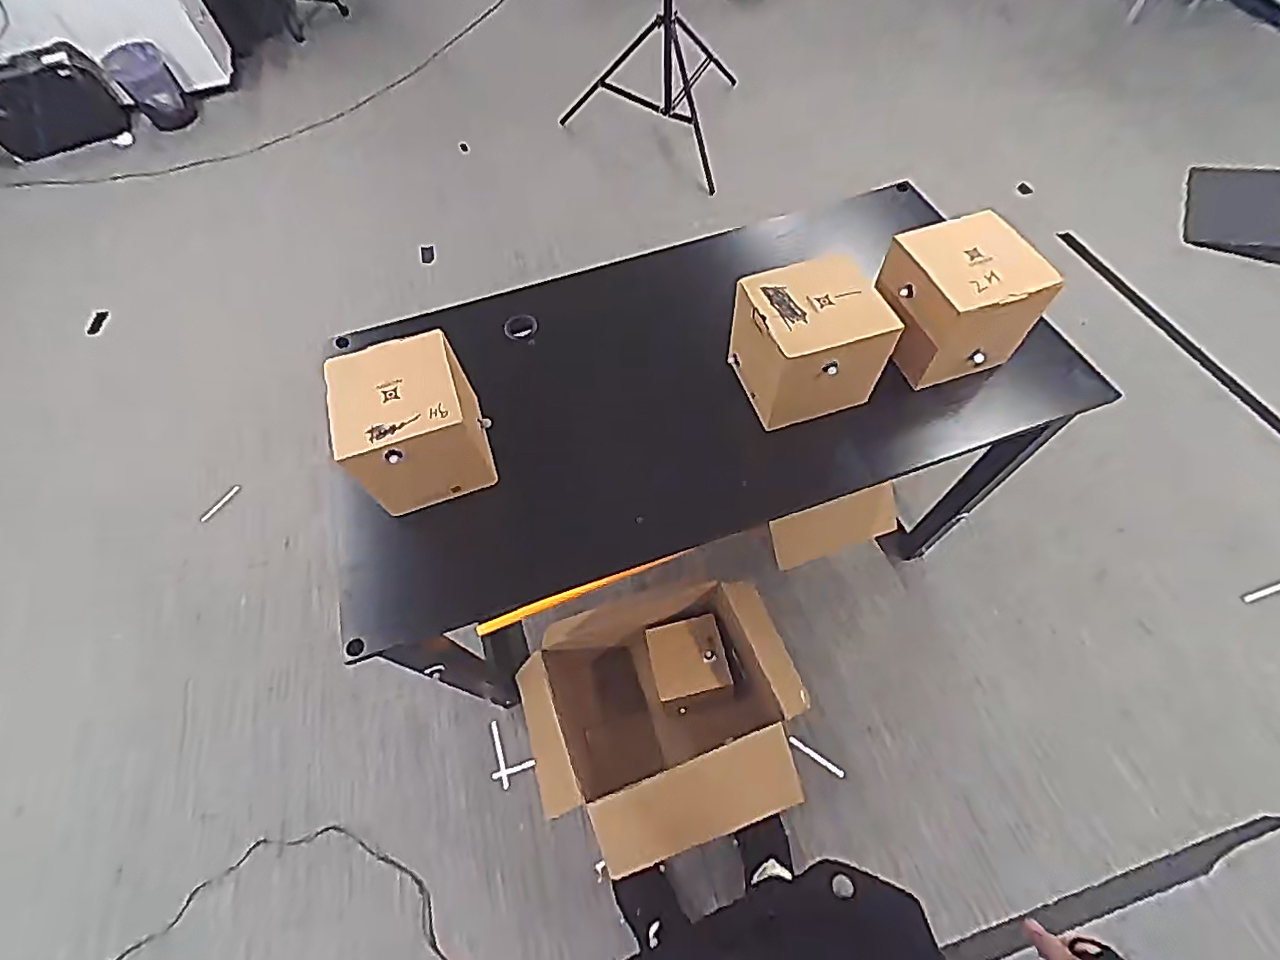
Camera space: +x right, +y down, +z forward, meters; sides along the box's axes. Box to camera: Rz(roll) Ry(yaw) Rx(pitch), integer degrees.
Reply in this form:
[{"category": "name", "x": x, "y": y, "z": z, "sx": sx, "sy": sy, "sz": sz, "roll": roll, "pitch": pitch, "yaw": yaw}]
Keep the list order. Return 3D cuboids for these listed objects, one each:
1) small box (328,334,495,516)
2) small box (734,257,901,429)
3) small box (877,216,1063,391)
[{"category": "small box", "x": -0.325, "y": -0.076, "z": 0.787, "sx": 0.168, "sy": 0.176, "sz": 0.179, "roll": -18, "pitch": 61, "yaw": -7}, {"category": "small box", "x": 0.251, "y": -0.201, "z": 0.822, "sx": 0.179, "sy": 0.176, "sz": 0.168, "roll": -16, "pitch": 61, "yaw": -6}, {"category": "small box", "x": 0.485, "y": -0.271, "z": 0.845, "sx": 0.168, "sy": 0.176, "sz": 0.179, "roll": -17, "pitch": 61, "yaw": -4}]
